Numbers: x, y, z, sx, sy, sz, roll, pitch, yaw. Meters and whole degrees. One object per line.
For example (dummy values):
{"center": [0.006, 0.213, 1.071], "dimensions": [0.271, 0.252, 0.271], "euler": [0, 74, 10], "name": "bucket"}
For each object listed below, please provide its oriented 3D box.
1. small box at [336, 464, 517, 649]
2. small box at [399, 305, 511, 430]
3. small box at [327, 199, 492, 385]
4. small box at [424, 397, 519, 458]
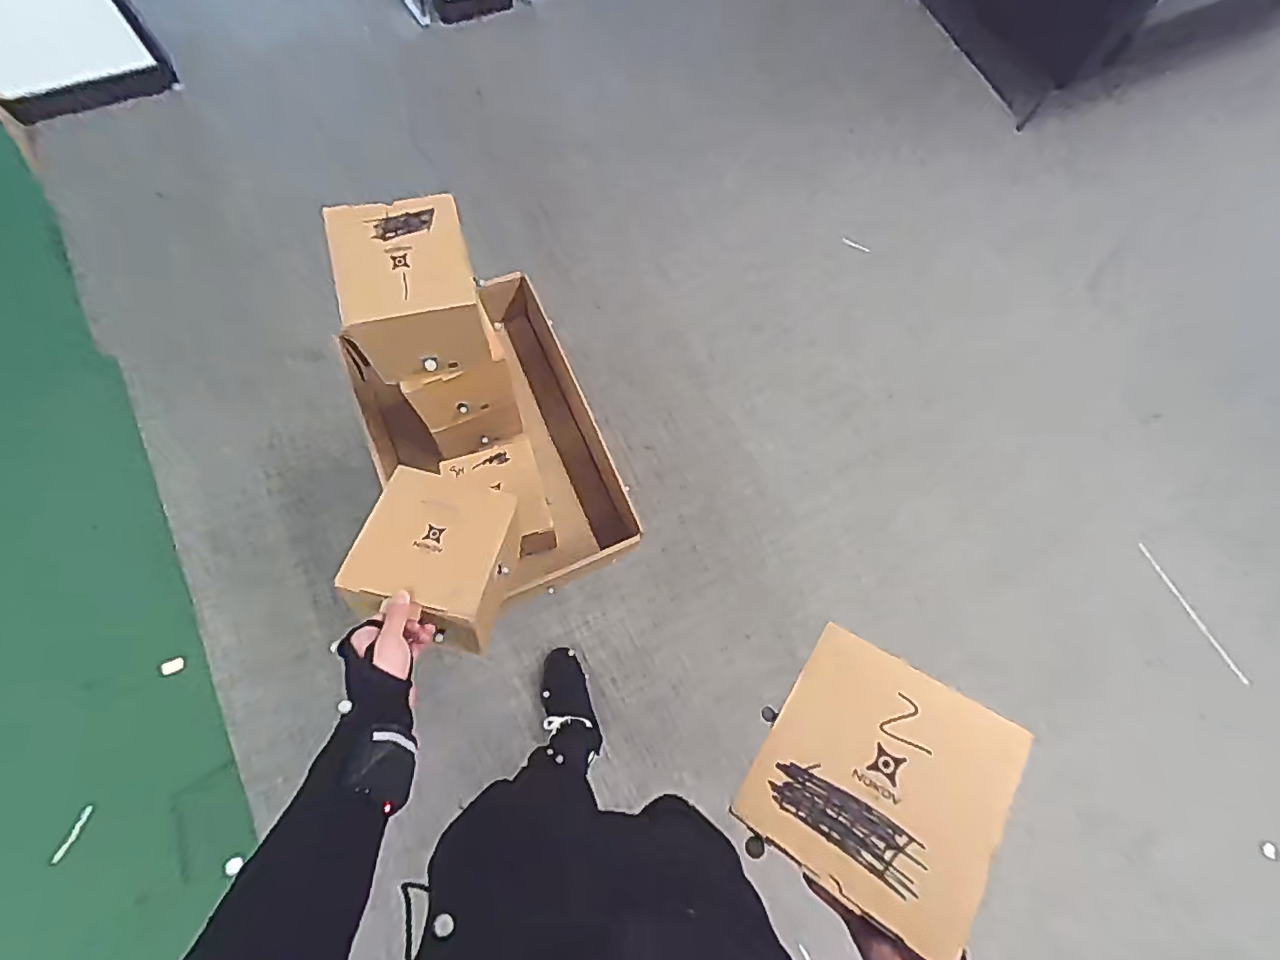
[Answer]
{"center": [-0.271, 0.111, 0.737], "dimensions": [0.168, 0.176, 0.179], "euler": [15, 55, -3], "name": "small box"}
{"center": [-0.333, -0.212, 0.928], "dimensions": [0.168, 0.176, 0.179], "euler": [-23, 79, -14], "name": "small box"}
{"center": [-0.318, -0.260, 0.771], "dimensions": [0.168, 0.176, 0.179], "euler": [-14, 77, -11], "name": "small box"}
{"center": [-0.354, -0.169, 1.083], "dimensions": [0.168, 0.176, 0.179], "euler": [-23, 78, -13], "name": "small box"}
